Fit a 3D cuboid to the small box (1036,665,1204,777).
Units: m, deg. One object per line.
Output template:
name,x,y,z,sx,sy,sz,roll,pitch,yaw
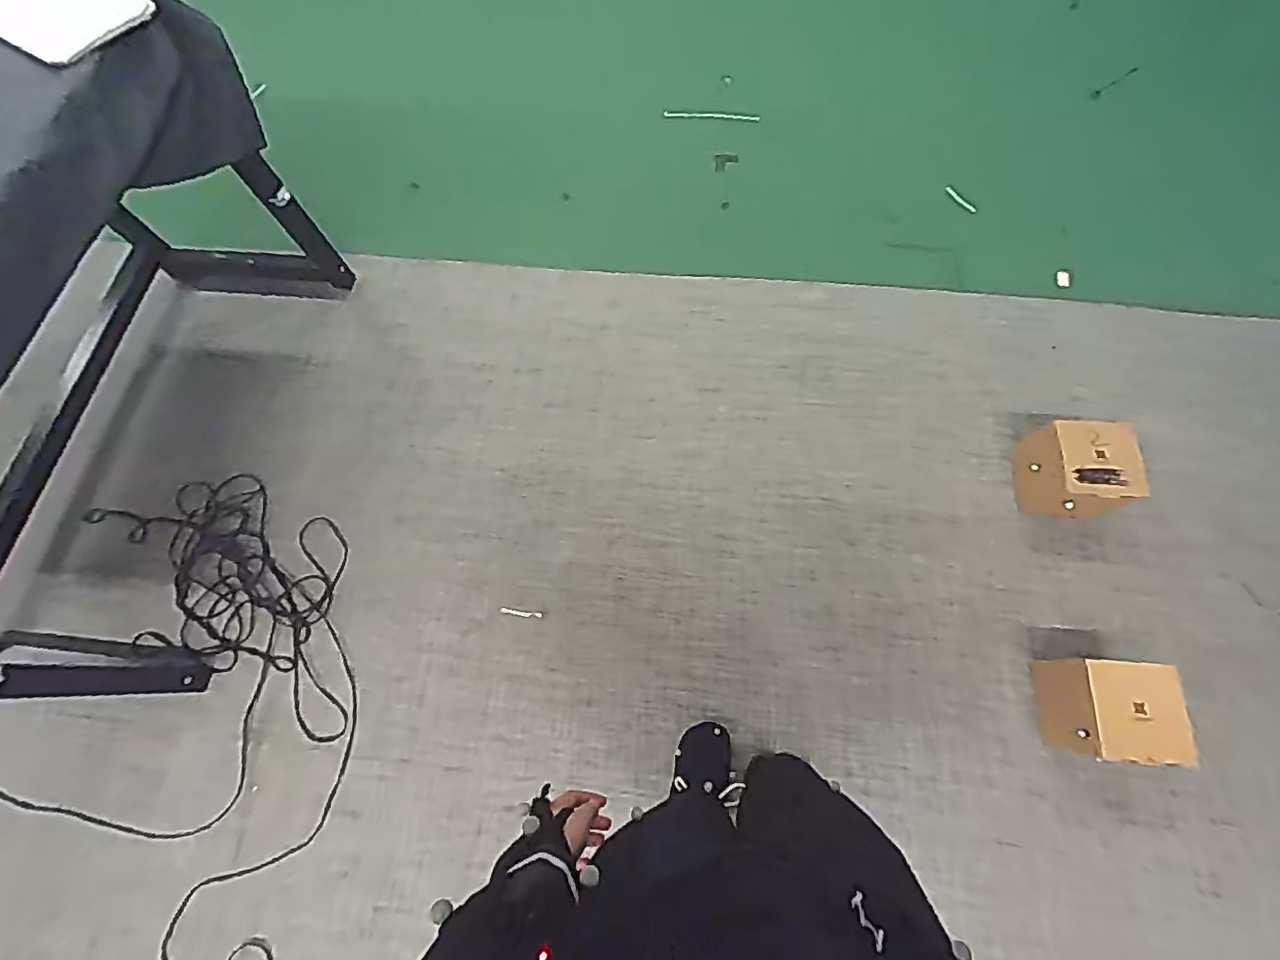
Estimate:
small box,0.914,0.460,1.053,0.168,0.176,0.179,3,70,4
